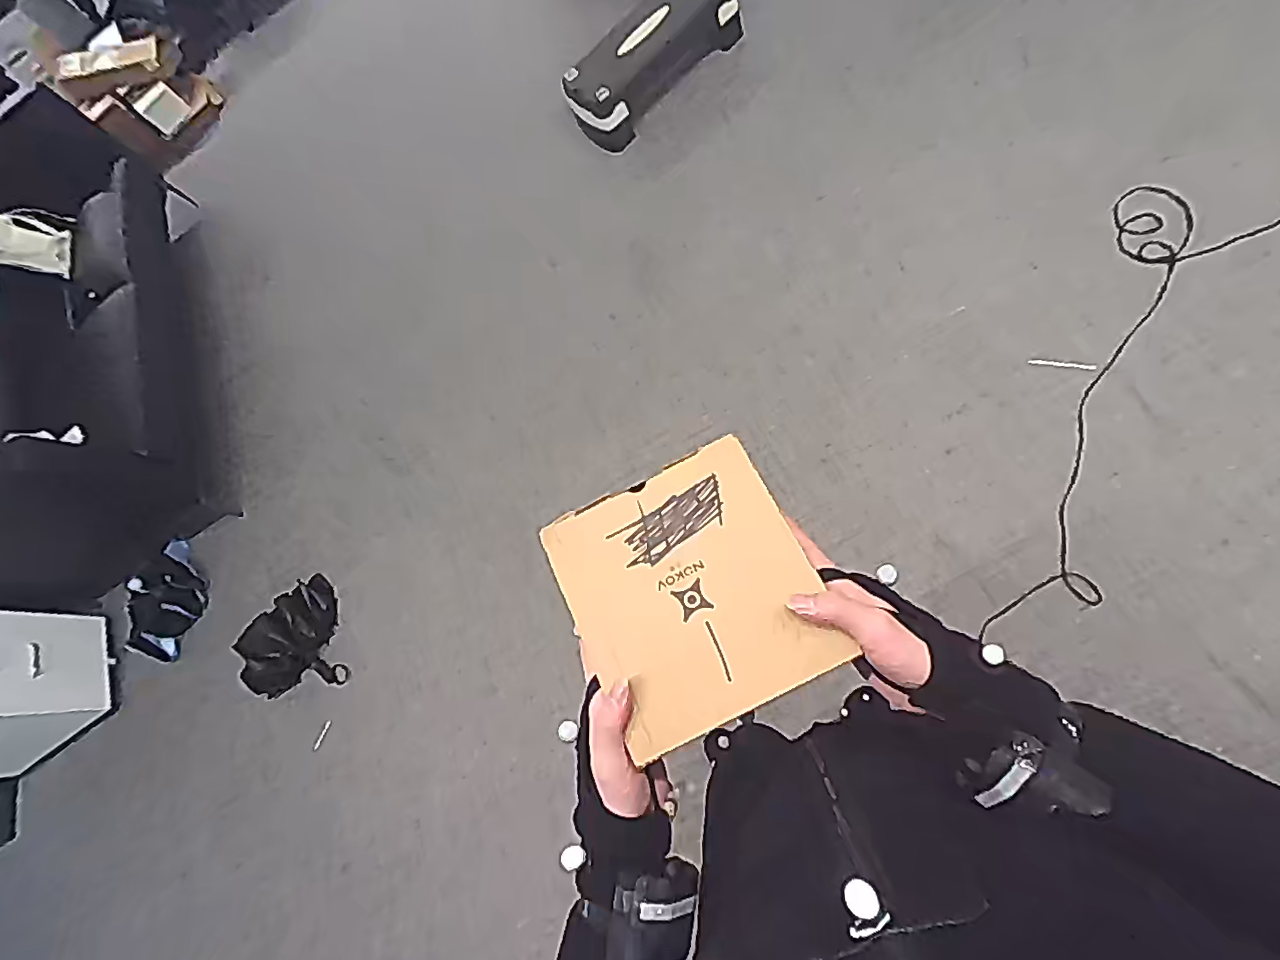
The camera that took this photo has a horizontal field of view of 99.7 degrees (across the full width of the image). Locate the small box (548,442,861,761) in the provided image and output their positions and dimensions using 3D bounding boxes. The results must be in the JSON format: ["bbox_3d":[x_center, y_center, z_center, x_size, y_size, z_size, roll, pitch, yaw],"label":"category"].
[{"bbox_3d":[0.047,0.102,0.451,0.168,0.176,0.179,-26,70,0],"label":"small box"}]
